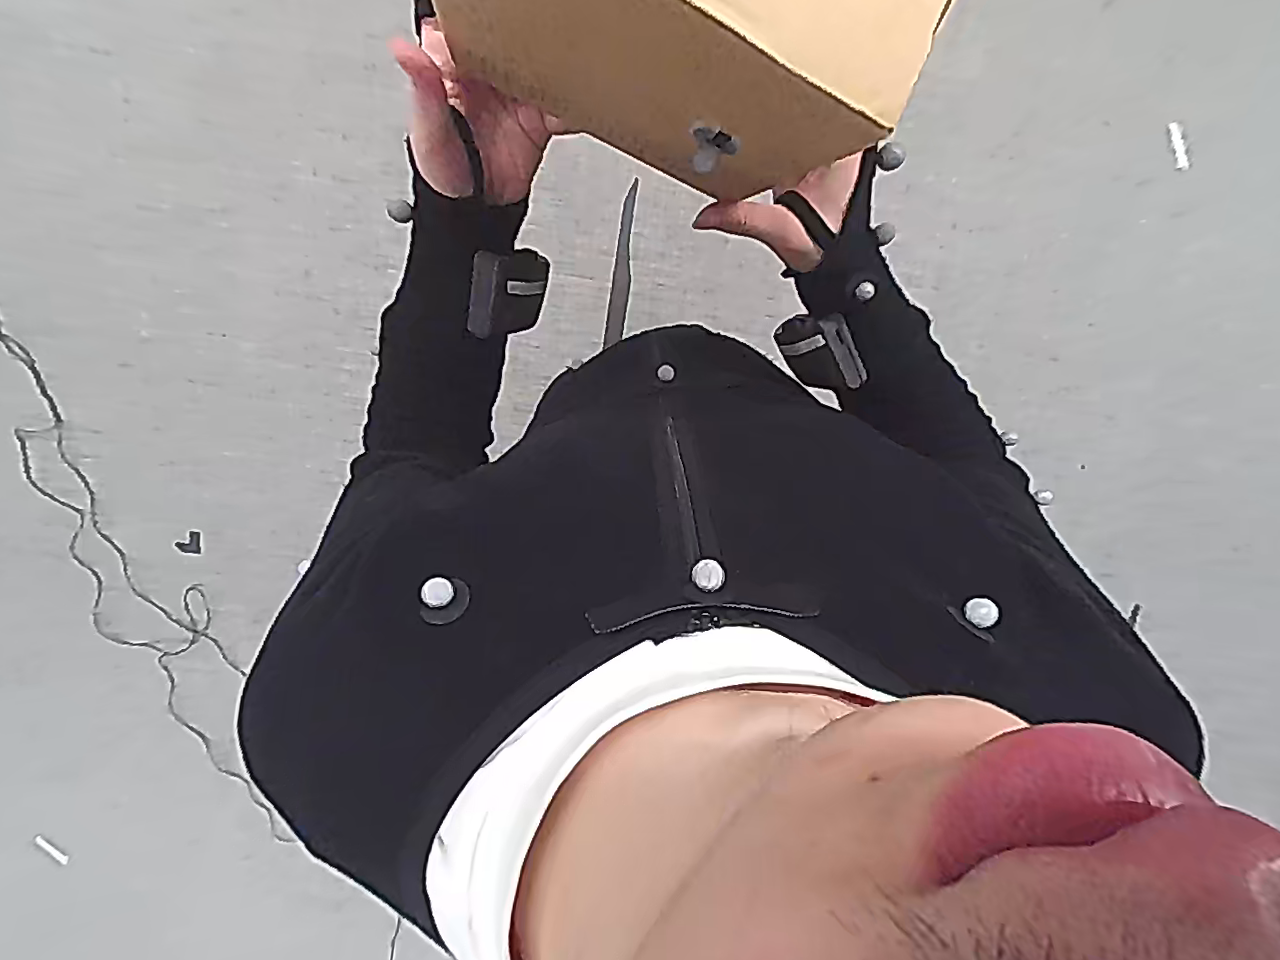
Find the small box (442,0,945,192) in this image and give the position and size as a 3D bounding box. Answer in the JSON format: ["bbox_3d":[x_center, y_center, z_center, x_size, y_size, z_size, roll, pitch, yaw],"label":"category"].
[{"bbox_3d":[0.023,-0.247,0.232,0.179,0.176,0.168,17,104,-17],"label":"small box"}]
